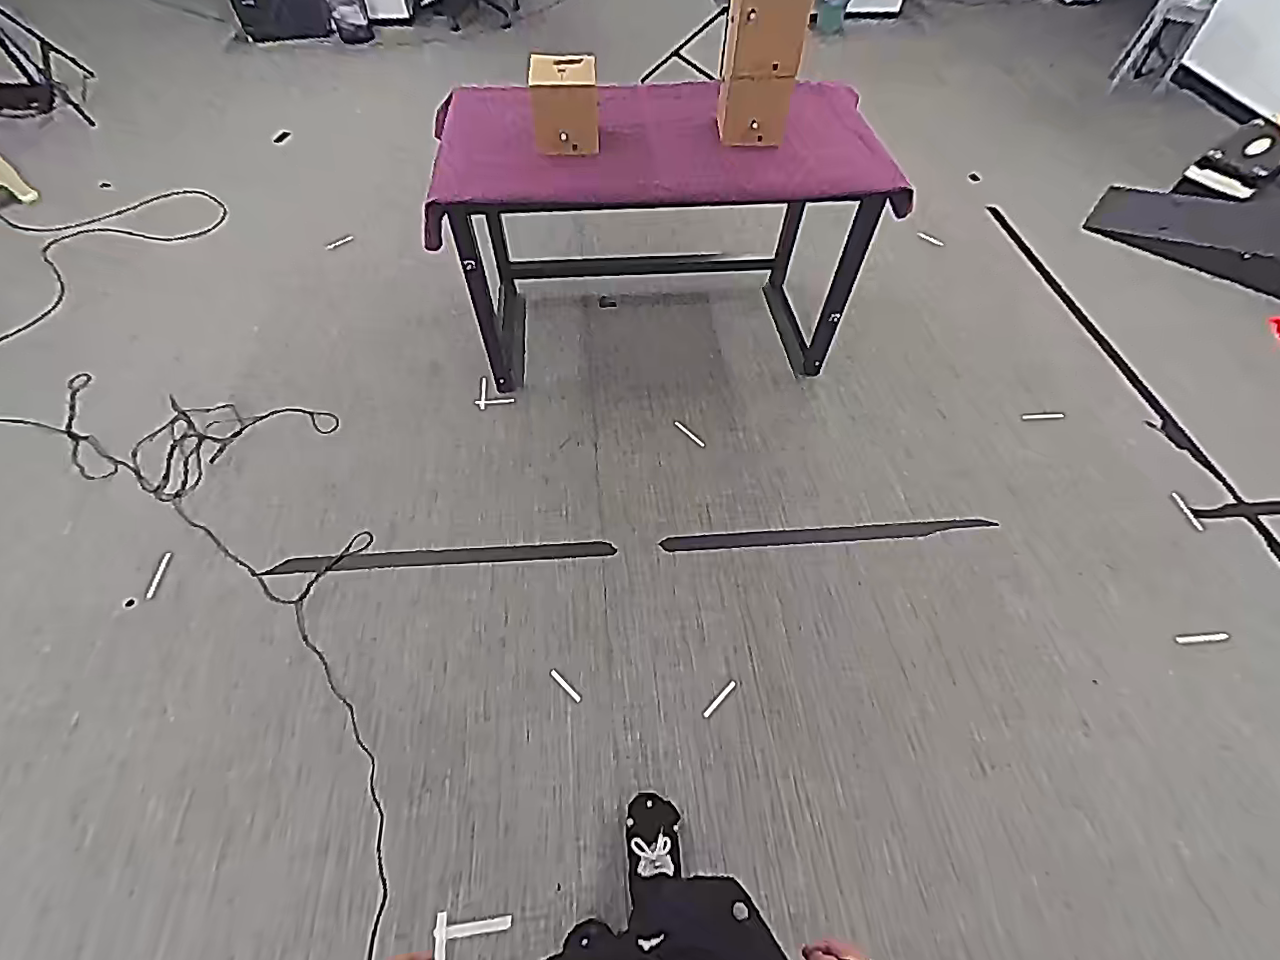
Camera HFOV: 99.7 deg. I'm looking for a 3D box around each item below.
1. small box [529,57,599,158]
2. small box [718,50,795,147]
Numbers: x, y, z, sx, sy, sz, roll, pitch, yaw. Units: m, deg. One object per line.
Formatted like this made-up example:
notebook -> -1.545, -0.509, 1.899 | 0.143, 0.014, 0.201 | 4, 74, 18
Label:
small box -> -0.195, -0.979, 1.424 | 0.168, 0.176, 0.179 | -2, 57, -2
small box -> 0.308, -1.034, 1.467 | 0.168, 0.176, 0.179 | 0, 56, 1
